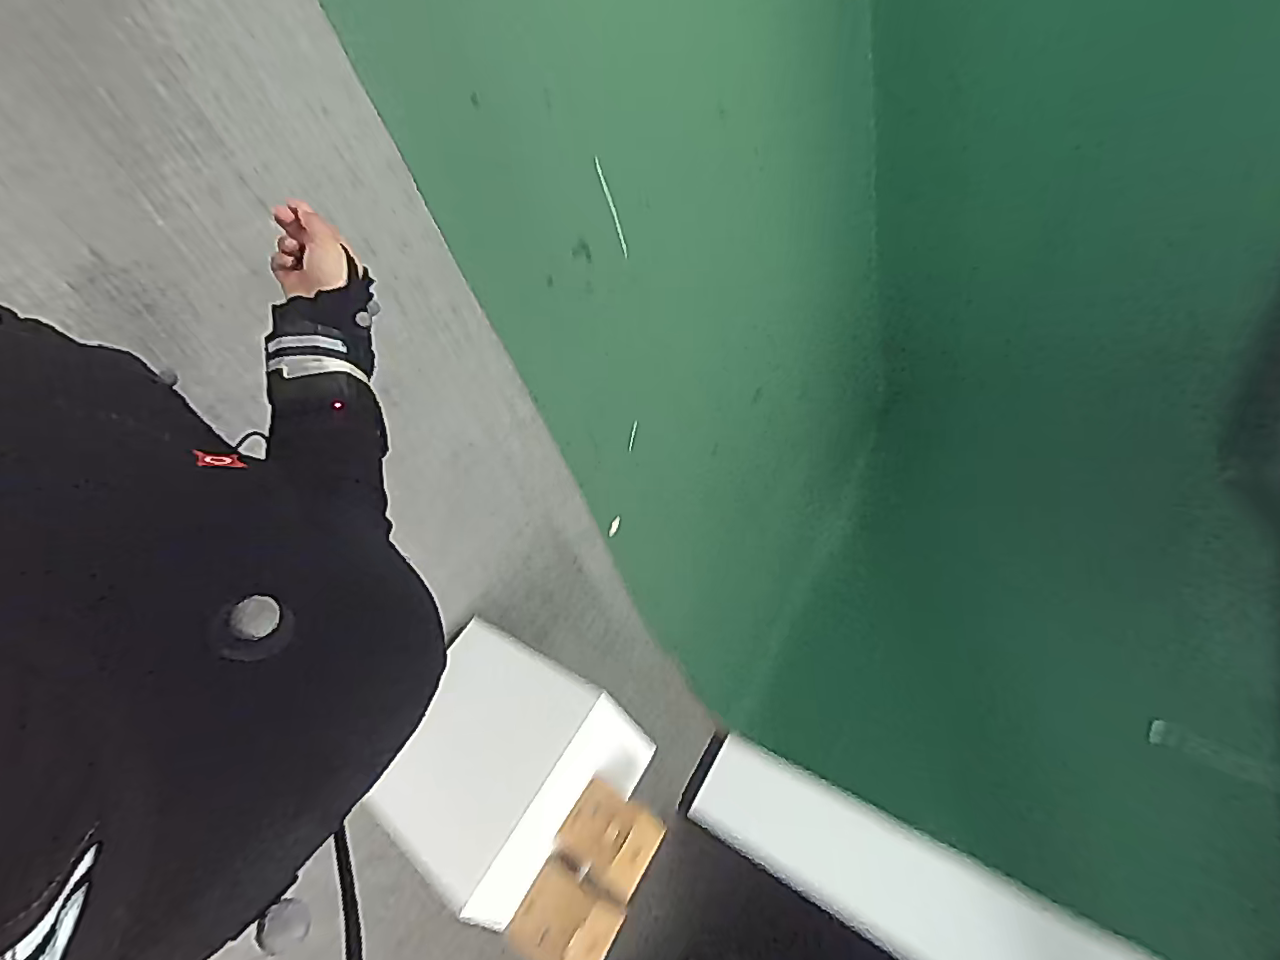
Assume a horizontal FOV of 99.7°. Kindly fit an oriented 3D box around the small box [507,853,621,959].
[{"bbox_3d":[-0.180,1.022,1.273,0.168,0.176,0.179,-53,137,-27],"label":"small box"}]
